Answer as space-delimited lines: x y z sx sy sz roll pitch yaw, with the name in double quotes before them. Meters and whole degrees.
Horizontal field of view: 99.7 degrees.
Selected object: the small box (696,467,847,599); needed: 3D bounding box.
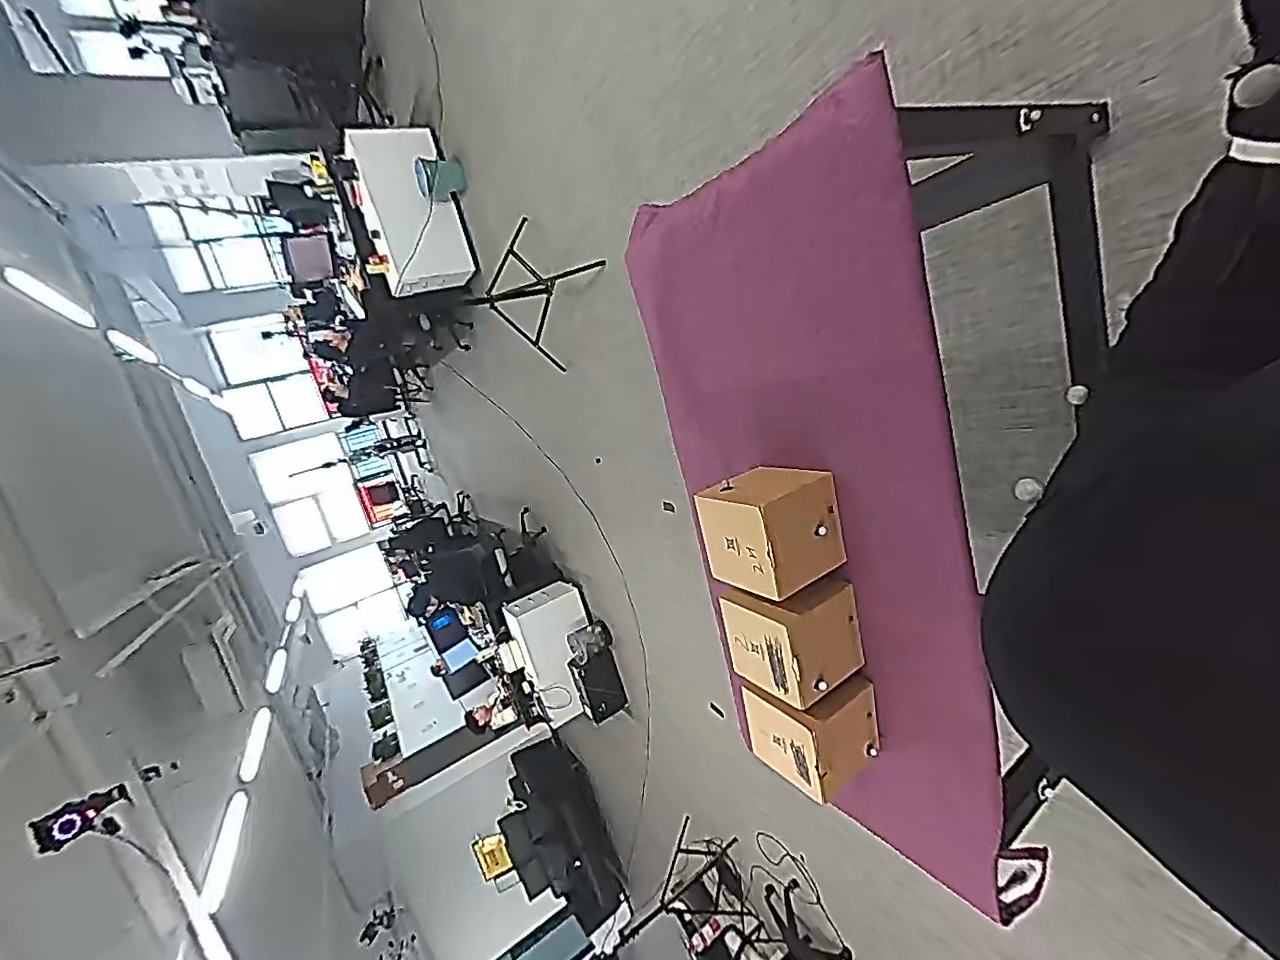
"small box" 0.229 0.082 0.949 0.179 0.176 0.168 9 117 59
